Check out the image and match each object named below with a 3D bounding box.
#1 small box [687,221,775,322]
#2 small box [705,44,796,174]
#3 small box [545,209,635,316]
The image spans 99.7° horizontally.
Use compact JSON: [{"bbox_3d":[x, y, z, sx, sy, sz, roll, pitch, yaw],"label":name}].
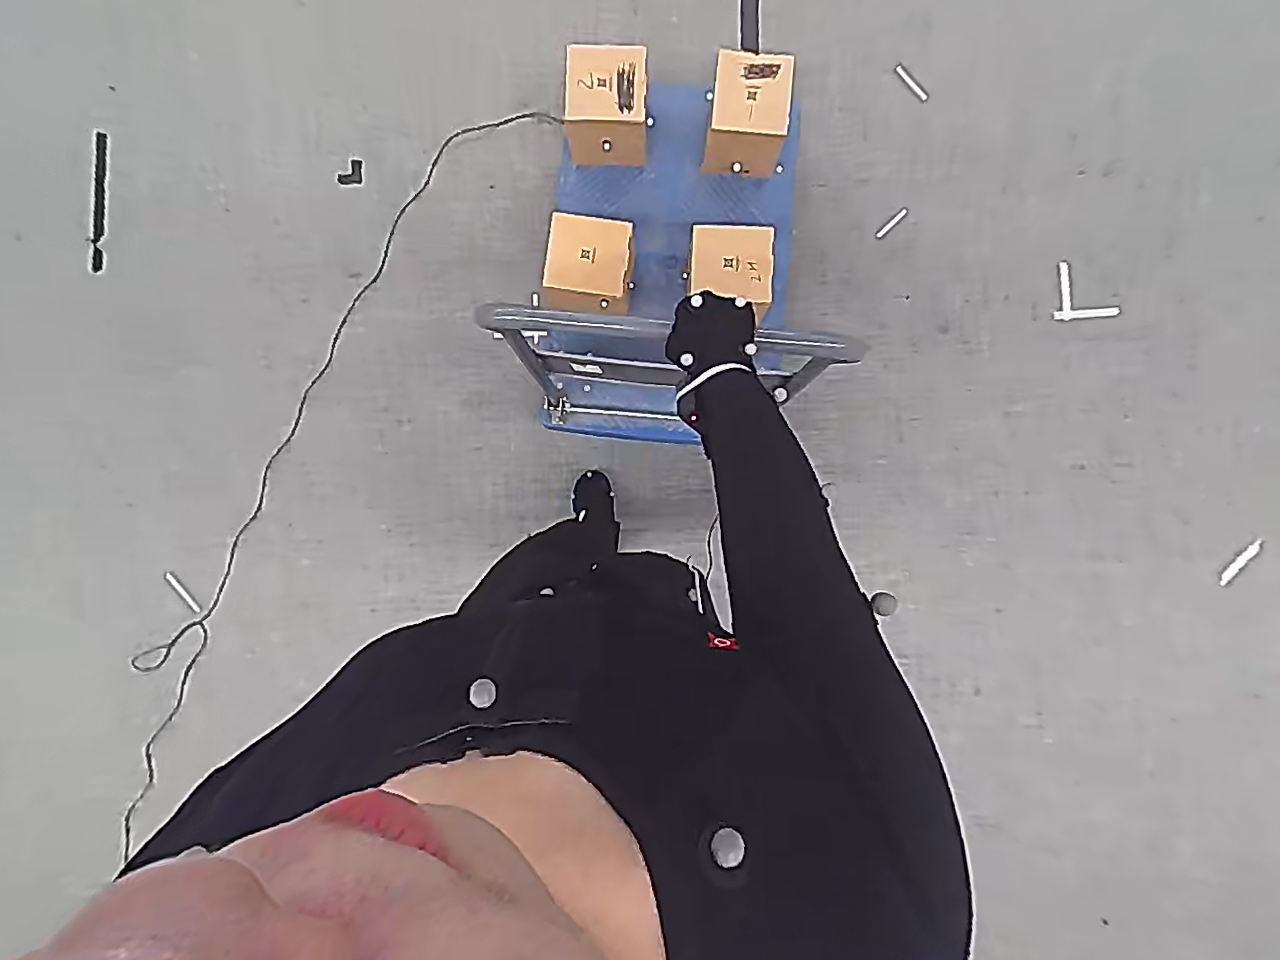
[{"bbox_3d":[0.201,-0.467,1.231,0.179,0.176,0.168,3,89,1],"label":"small box"},{"bbox_3d":[0.245,-0.838,1.236,0.168,0.176,0.179,6,90,1],"label":"small box"},{"bbox_3d":[-0.108,-0.489,1.237,0.179,0.176,0.168,7,89,-1],"label":"small box"}]
